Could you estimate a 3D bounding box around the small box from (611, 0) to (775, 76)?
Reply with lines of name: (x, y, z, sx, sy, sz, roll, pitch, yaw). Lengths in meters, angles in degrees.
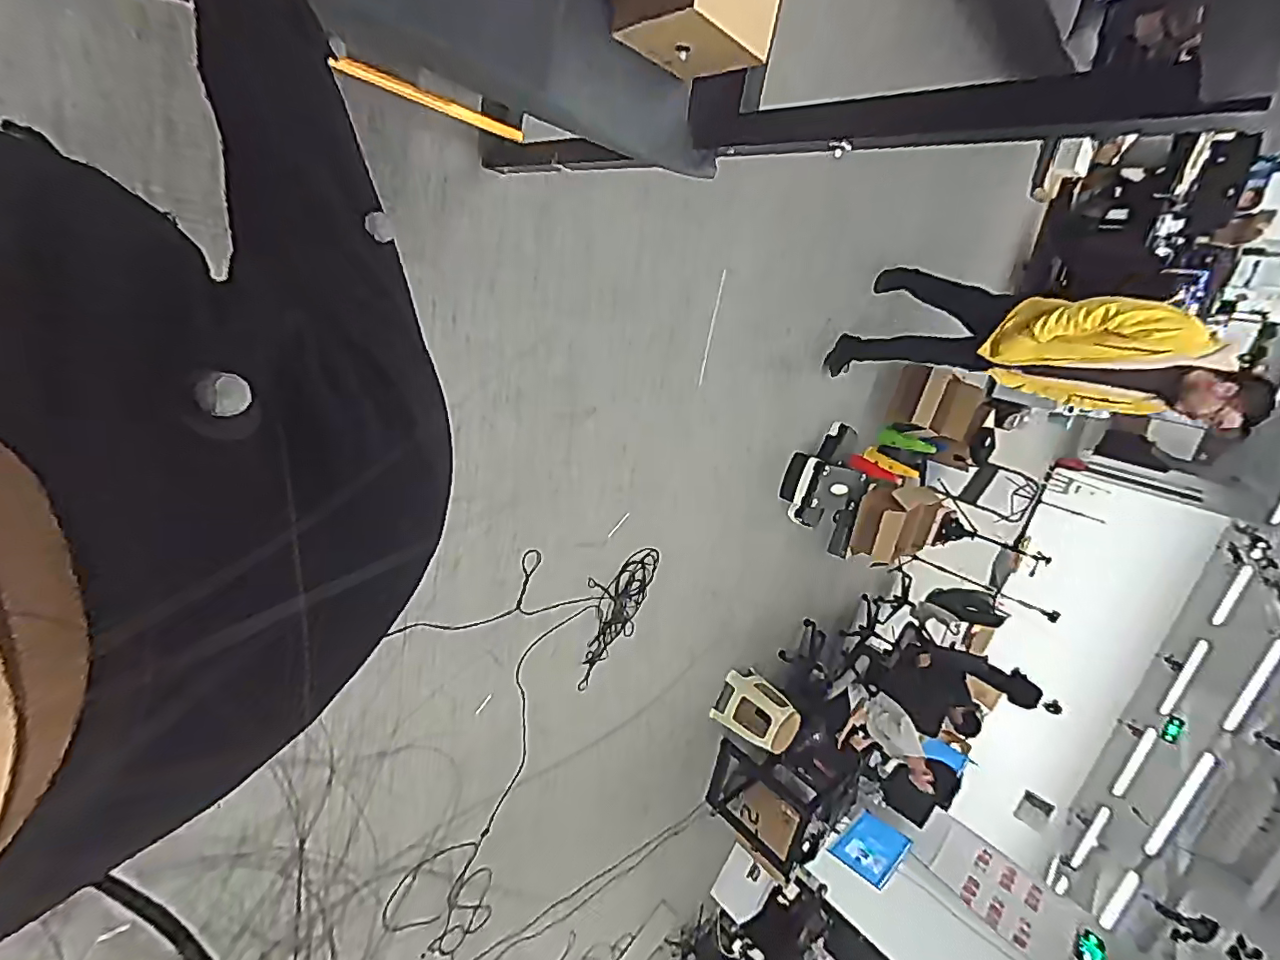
small box: (0.078, -0.709, 0.765, 0.168, 0.176, 0.179, -9, 116, -45)
